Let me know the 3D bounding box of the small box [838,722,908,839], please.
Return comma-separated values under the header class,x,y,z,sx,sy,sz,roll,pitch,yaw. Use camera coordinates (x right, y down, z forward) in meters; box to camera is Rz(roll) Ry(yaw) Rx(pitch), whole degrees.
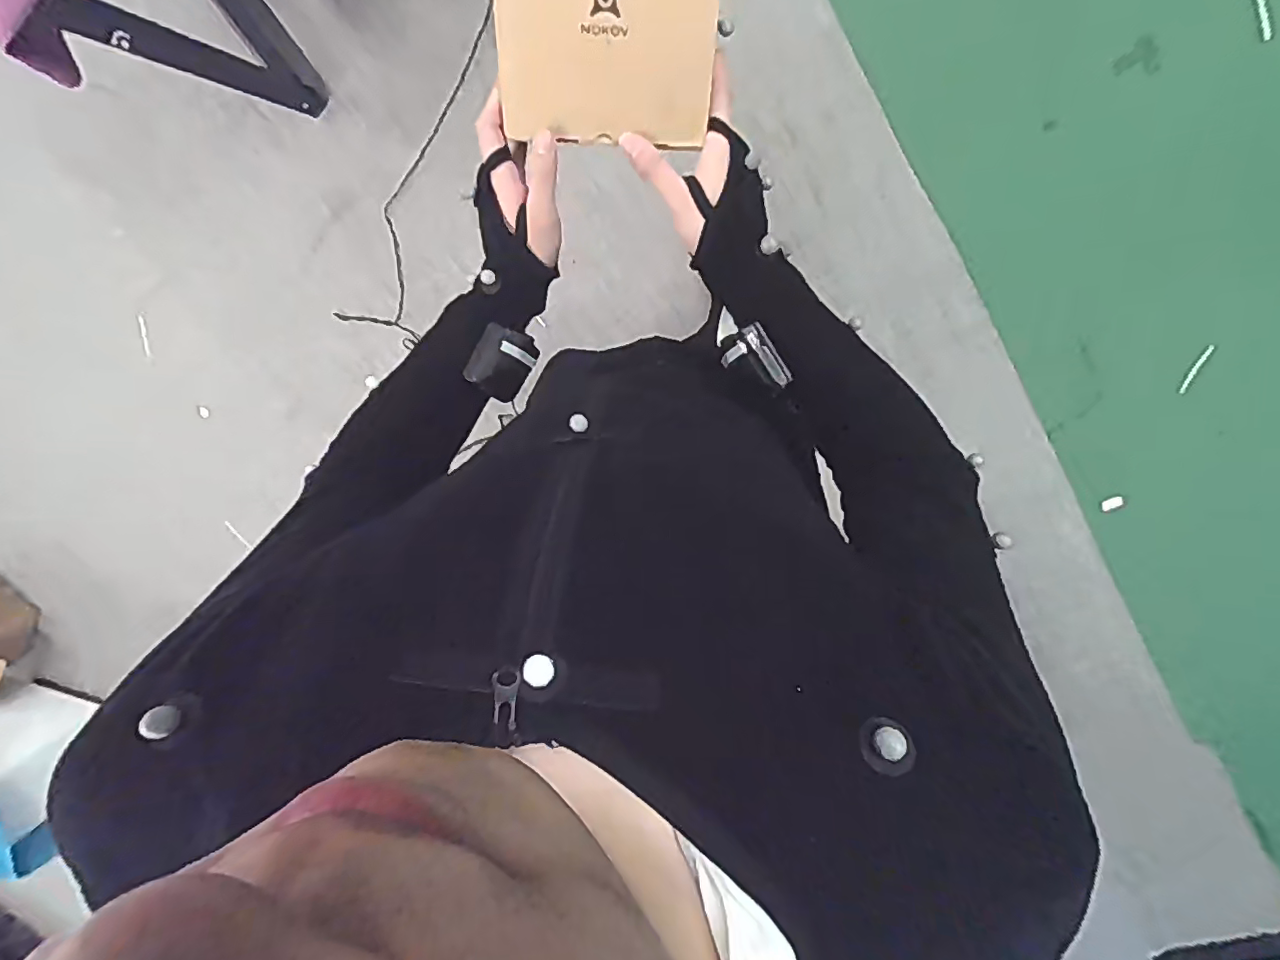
class,x,y,z,sx,sy,sz,roll,pitch,yaw
small box,0.539,0.748,1.354,0.168,0.176,0.179,-28,101,21
